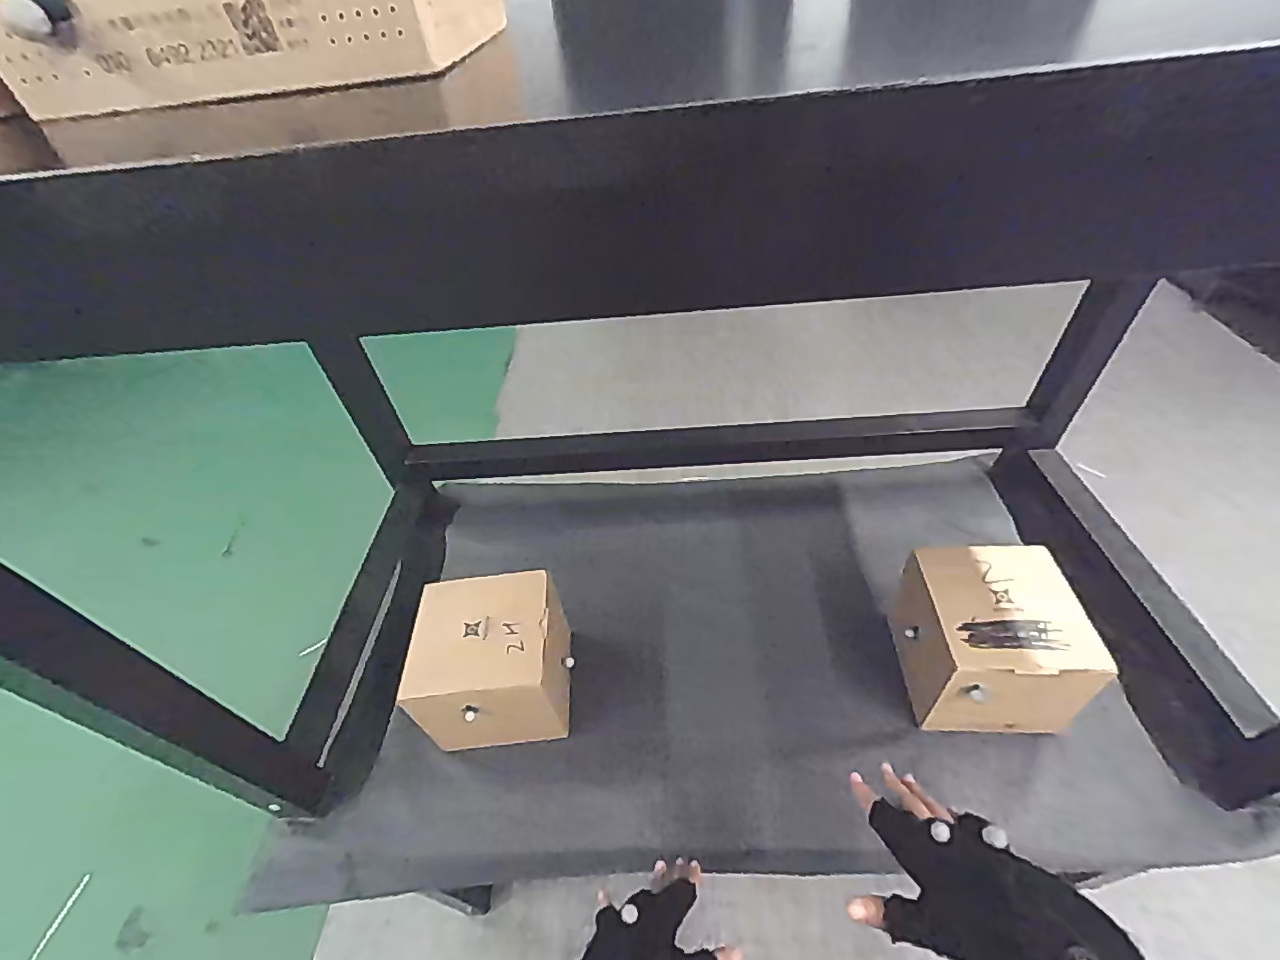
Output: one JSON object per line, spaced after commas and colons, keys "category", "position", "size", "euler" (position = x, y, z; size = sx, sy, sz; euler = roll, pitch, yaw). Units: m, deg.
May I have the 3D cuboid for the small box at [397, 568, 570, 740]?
{"category": "small box", "position": [-0.201, 0.244, 0.750], "size": [0.179, 0.176, 0.168], "euler": [-6, 45, 1]}
